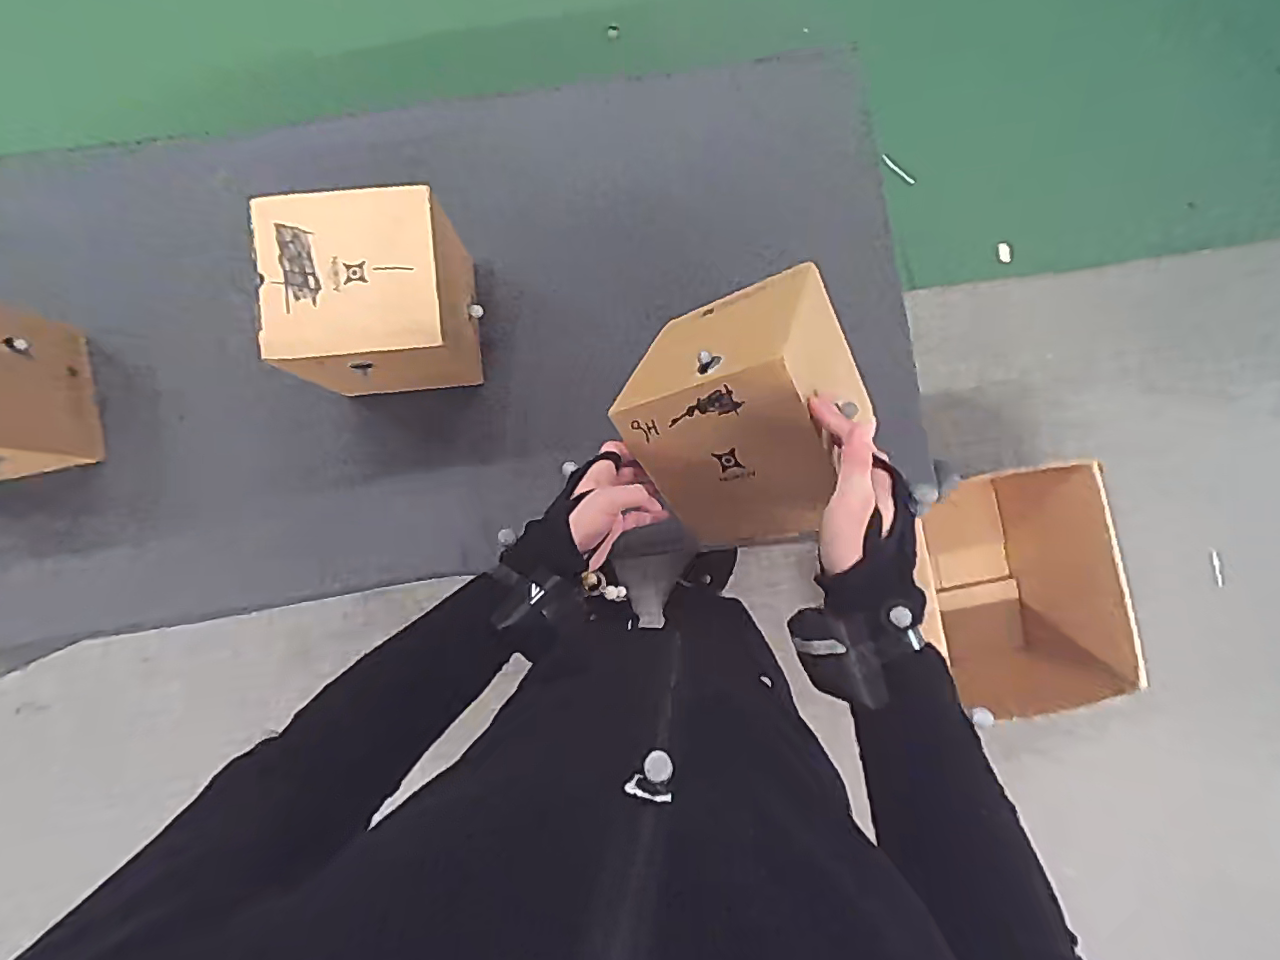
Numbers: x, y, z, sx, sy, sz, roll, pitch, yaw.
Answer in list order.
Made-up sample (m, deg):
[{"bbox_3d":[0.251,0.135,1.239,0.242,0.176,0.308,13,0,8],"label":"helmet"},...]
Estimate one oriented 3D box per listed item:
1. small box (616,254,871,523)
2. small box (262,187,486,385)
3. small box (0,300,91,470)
[{"bbox_3d":[0.113,-0.084,0.533,0.179,0.168,0.176,53,44,-26],"label":"small box"},{"bbox_3d":[-0.285,-0.204,0.611,0.179,0.176,0.168,-2,89,-2],"label":"small box"},{"bbox_3d":[-0.750,-0.102,0.578,0.179,0.176,0.168,-12,87,-2],"label":"small box"}]
